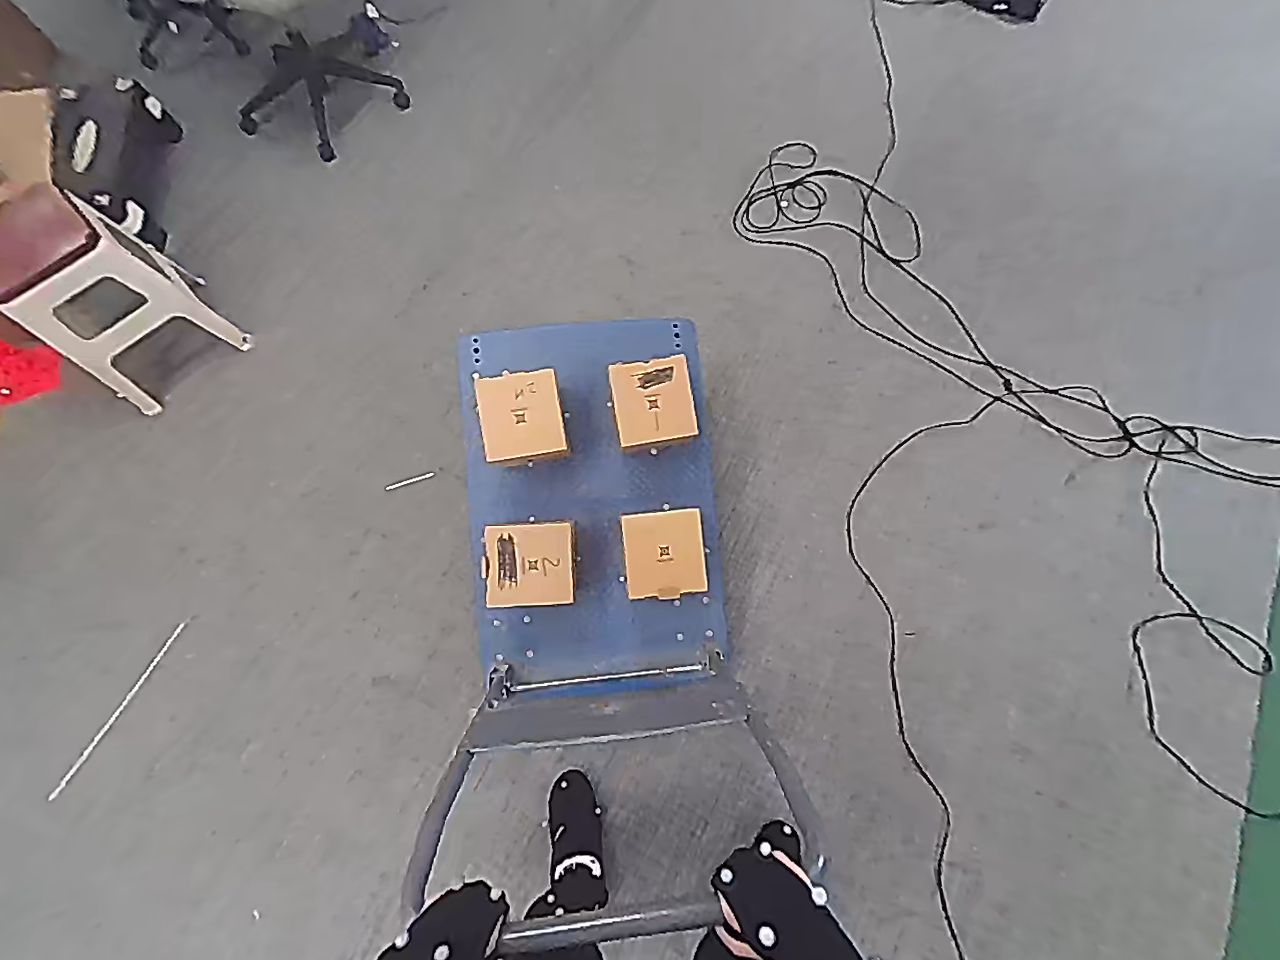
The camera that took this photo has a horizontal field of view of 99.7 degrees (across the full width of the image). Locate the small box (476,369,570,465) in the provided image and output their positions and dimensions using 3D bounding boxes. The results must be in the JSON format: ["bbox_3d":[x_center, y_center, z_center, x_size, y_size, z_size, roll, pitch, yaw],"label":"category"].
[{"bbox_3d":[-0.248,-0.129,1.184,0.168,0.176,0.179,-9,88,-5],"label":"small box"}]

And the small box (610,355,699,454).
[{"bbox_3d":[0.025,-0.162,1.204,0.168,0.176,0.179,-9,89,-4],"label":"small box"}]

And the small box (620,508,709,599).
[{"bbox_3d":[0.047,0.155,1.191,0.168,0.176,0.179,-6,88,-4],"label":"small box"}]
